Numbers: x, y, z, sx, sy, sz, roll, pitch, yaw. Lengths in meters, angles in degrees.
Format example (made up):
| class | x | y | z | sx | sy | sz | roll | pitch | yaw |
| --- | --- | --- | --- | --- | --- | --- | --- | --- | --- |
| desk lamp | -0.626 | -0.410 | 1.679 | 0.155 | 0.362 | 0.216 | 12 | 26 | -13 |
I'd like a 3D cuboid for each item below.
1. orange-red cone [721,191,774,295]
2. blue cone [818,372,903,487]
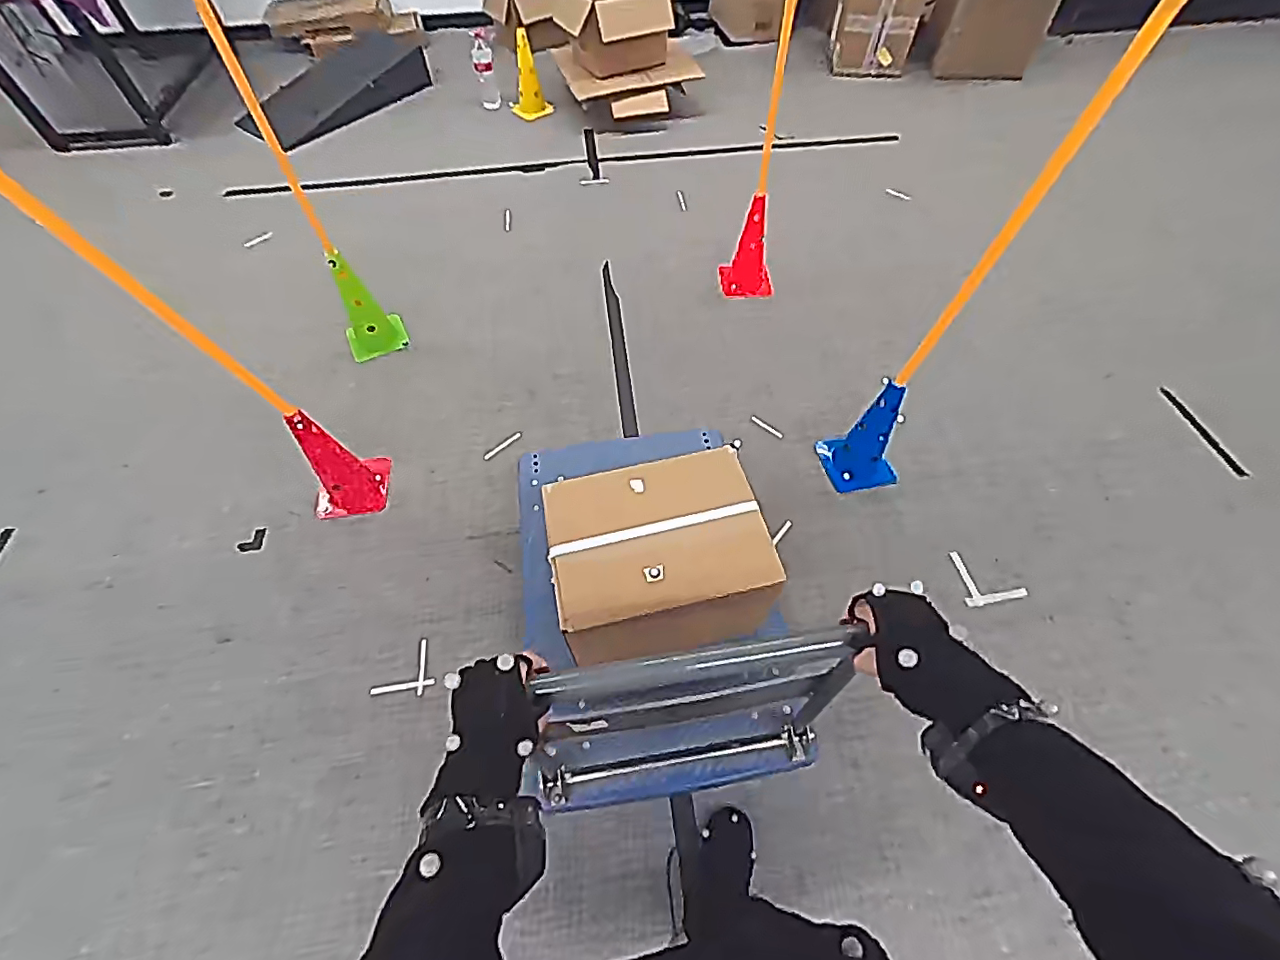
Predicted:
| class | x | y | z | sx | sy | sz | roll | pitch | yaw |
| --- | --- | --- | --- | --- | --- | --- | --- | --- | --- |
| orange-red cone | 0.428 | -0.897 | 2.020 | 0.199 | 0.360 | 0.198 | 0 | 57 | -1 |
| blue cone | 0.670 | -0.155 | 1.551 | 0.193 | 0.380 | 0.192 | -10 | 56 | -6 |
